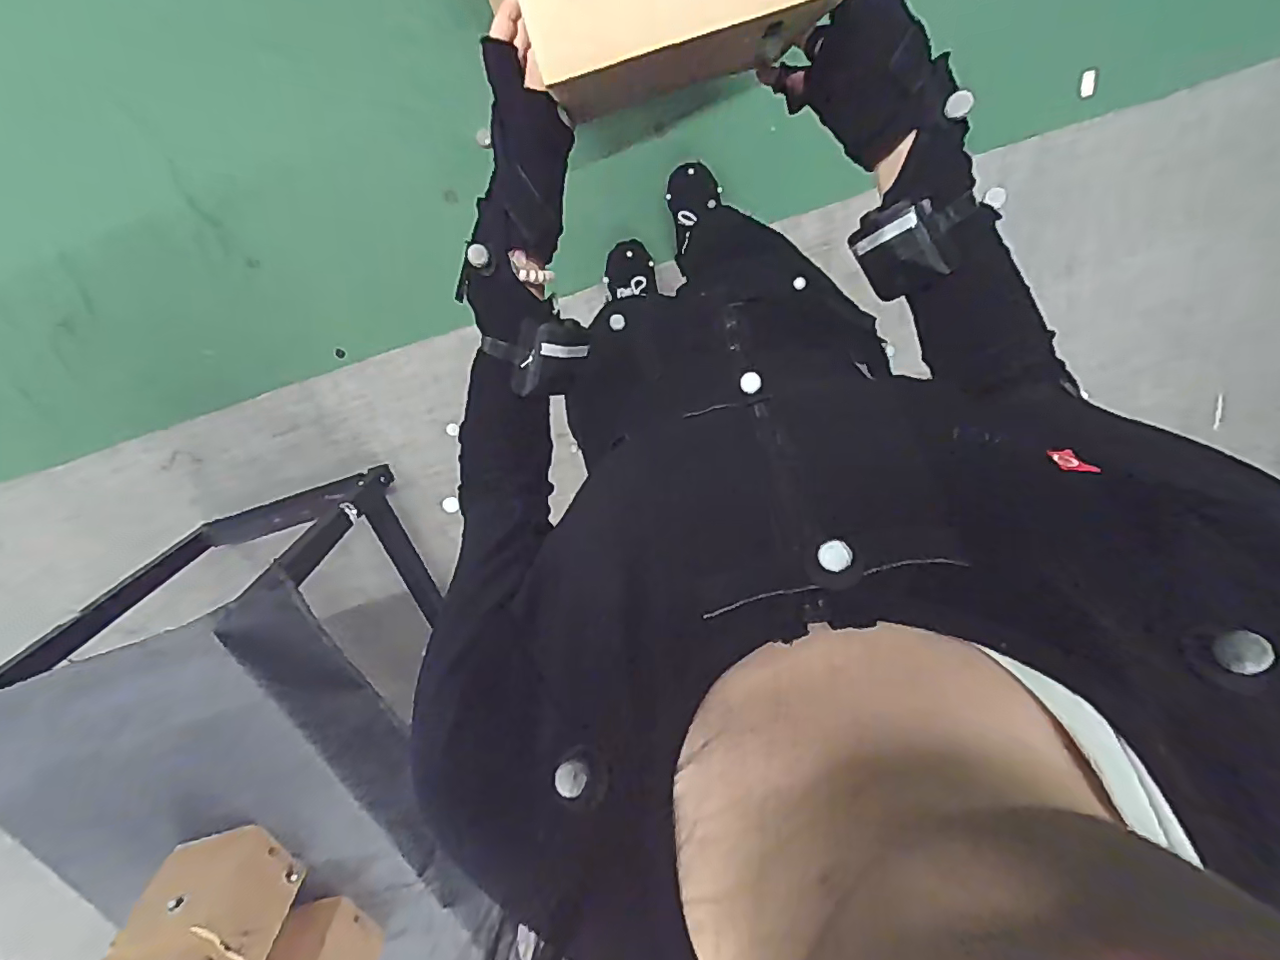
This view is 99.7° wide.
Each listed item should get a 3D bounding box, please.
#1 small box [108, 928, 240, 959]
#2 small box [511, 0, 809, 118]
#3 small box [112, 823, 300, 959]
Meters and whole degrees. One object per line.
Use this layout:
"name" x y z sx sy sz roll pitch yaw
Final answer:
"small box" -0.760 0.841 0.833 0.179 0.176 0.168 -20 114 5
"small box" 0.004 -0.342 0.321 0.179 0.176 0.168 -15 116 5
"small box" -0.758 0.758 0.975 0.179 0.176 0.168 -18 114 6
